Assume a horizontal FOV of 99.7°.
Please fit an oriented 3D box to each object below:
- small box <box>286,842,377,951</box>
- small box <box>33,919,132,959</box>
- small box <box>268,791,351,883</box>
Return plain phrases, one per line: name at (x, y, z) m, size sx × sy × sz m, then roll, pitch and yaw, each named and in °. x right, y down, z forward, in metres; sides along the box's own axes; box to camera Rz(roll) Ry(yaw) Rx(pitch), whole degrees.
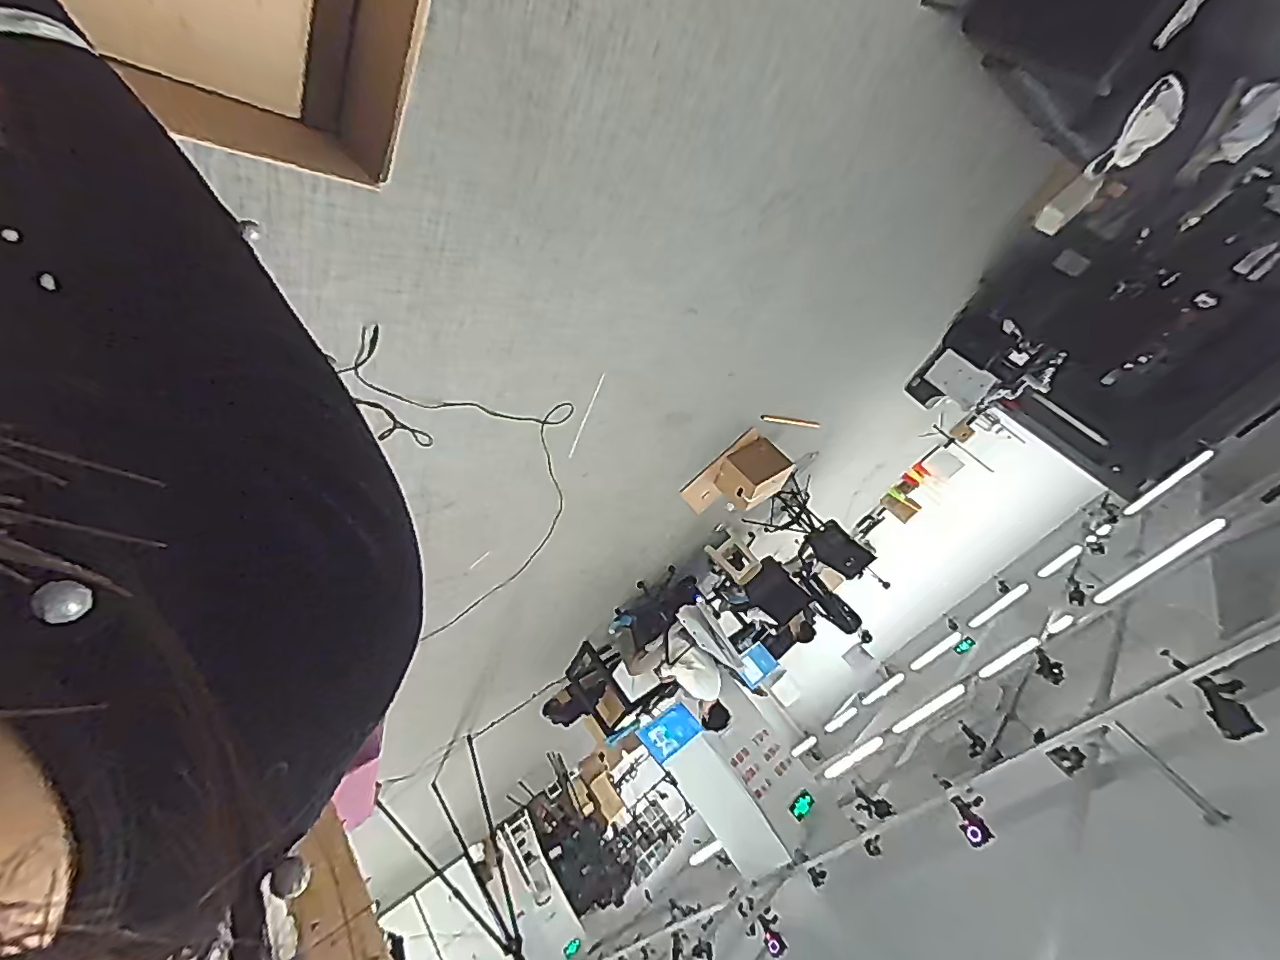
small box at (-0.857, 1.156, 1.510) m, size 0.179 × 0.176 × 0.168 m, roll -19°, pitch 148°, yaw -38°
small box at (-1.311, 1.177, 1.259) m, size 0.168 × 0.176 × 0.179 m, roll -19°, pitch 147°, yaw -42°
small box at (-0.958, 1.045, 1.572) m, size 0.168 × 0.176 × 0.179 m, roll -19°, pitch 148°, yaw -40°
